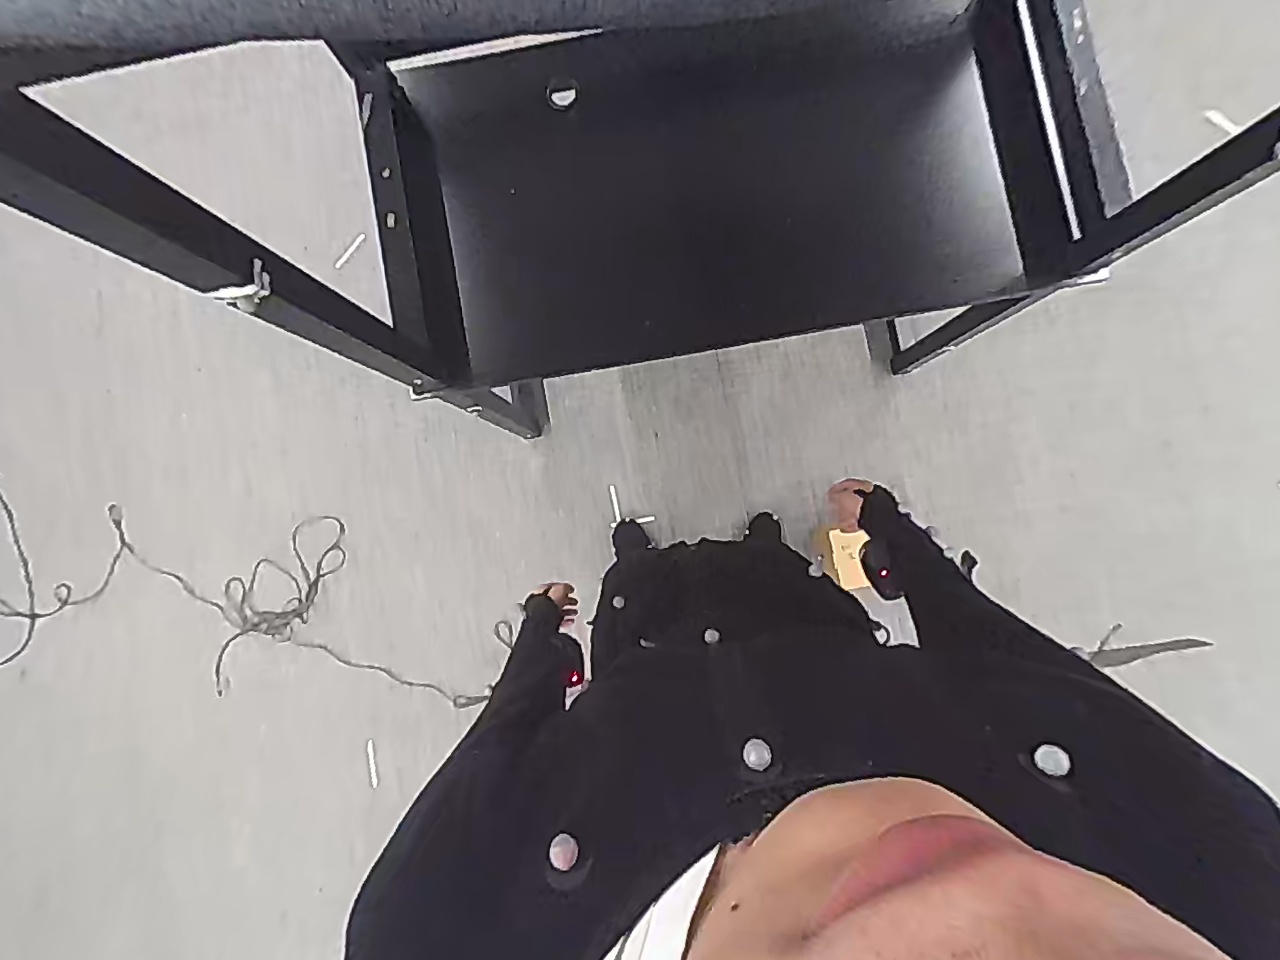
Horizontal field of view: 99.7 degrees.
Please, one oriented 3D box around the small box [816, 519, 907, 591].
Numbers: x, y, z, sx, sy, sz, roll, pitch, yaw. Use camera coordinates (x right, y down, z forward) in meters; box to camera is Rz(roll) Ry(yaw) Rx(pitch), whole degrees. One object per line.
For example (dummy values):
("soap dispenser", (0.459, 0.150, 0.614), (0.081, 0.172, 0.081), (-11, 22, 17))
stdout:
("small box", (0.619, 0.205, 1.528), (0.179, 0.176, 0.168), (-12, 87, 3))
